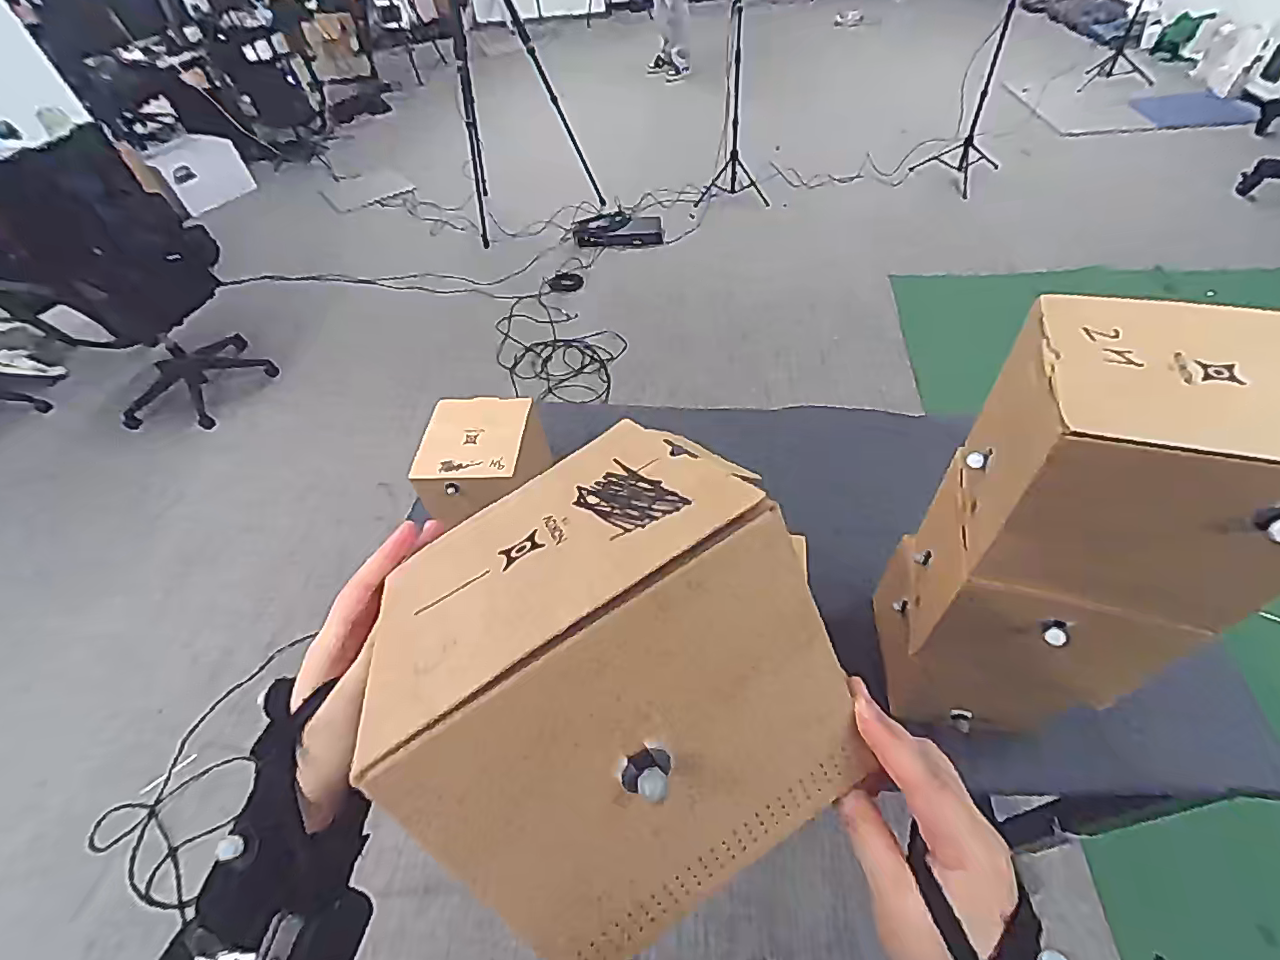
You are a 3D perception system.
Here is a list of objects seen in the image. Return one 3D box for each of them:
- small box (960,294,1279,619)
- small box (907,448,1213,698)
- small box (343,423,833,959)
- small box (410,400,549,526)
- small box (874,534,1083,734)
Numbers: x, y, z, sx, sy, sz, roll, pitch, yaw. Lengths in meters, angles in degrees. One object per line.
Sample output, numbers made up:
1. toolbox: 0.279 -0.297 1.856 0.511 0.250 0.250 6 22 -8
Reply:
1. small box: 0.369 -0.016 0.412 0.179 0.176 0.168 12 51 18
2. small box: 0.383 0.094 0.535 0.179 0.176 0.168 10 51 17
3. small box: -0.019 0.097 0.297 0.179 0.176 0.168 -33 25 -8
4. small box: -0.257 -0.018 0.923 0.168 0.176 0.179 0 51 6
5. small box: 0.400 0.189 0.666 0.168 0.176 0.179 2 50 10
